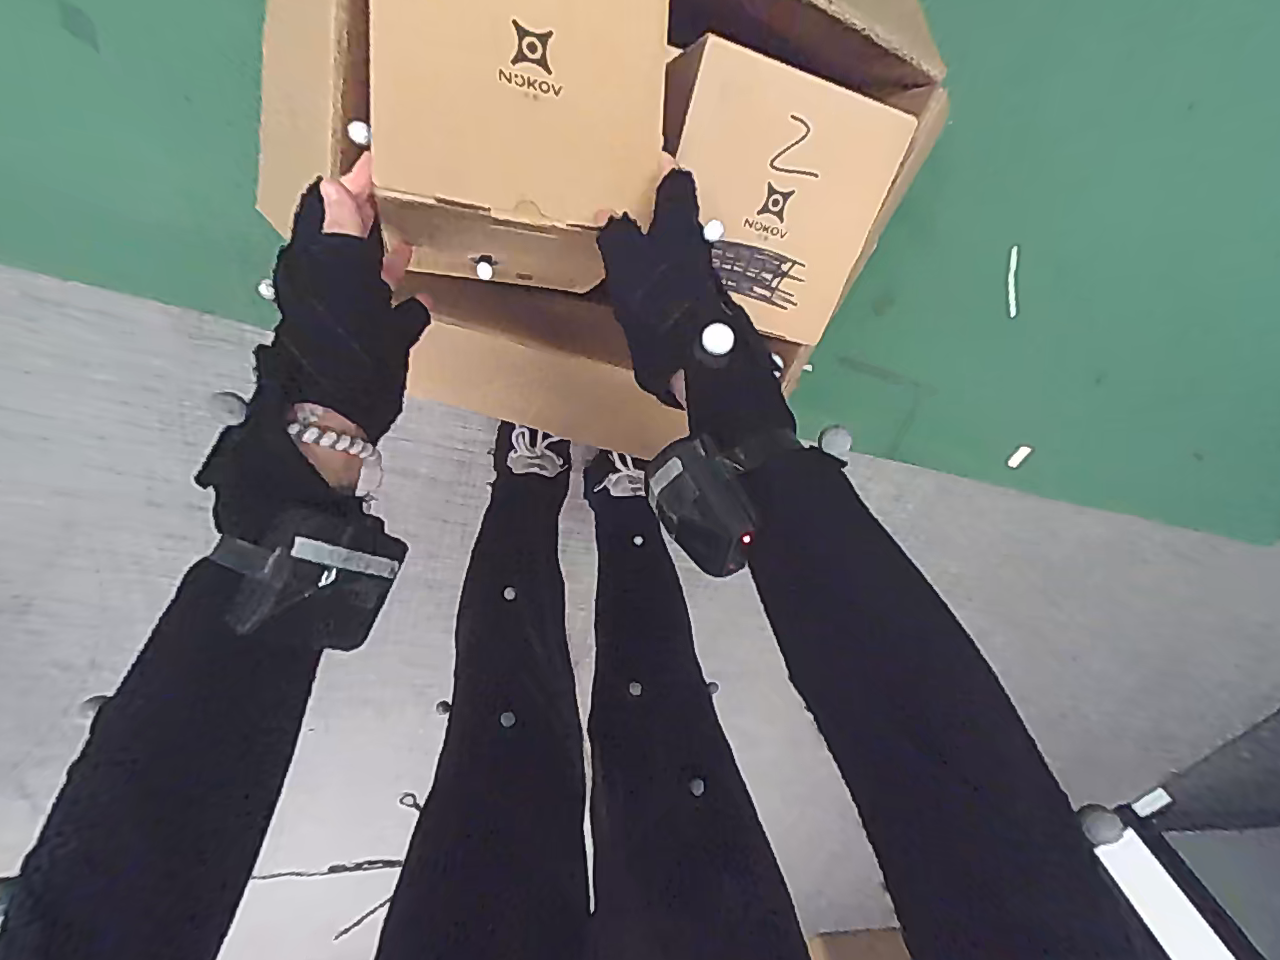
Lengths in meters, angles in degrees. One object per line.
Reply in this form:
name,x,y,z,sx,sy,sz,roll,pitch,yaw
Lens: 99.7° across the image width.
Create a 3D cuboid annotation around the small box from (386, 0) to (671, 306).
small box,-0.090,-0.233,0.388,0.168,0.176,0.179,-1,100,-23
